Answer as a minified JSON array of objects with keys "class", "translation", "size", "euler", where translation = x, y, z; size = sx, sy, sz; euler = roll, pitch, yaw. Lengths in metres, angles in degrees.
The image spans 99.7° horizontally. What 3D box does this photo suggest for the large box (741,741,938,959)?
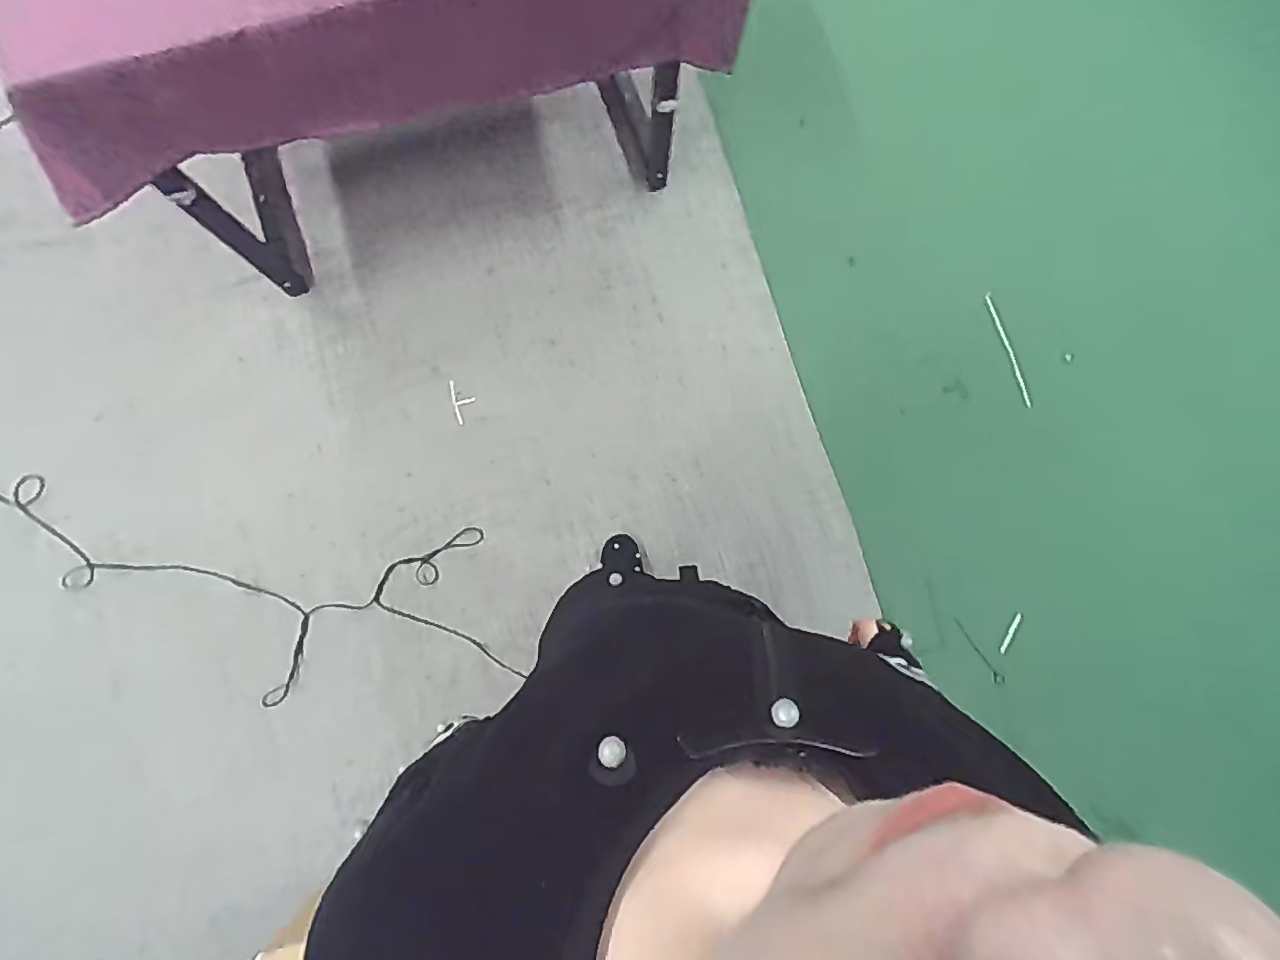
[{"class":"large box","translation":[0.483,0.918,1.282],"size":[0.320,0.320,0.408],"euler":[-20,84,-5]}]
